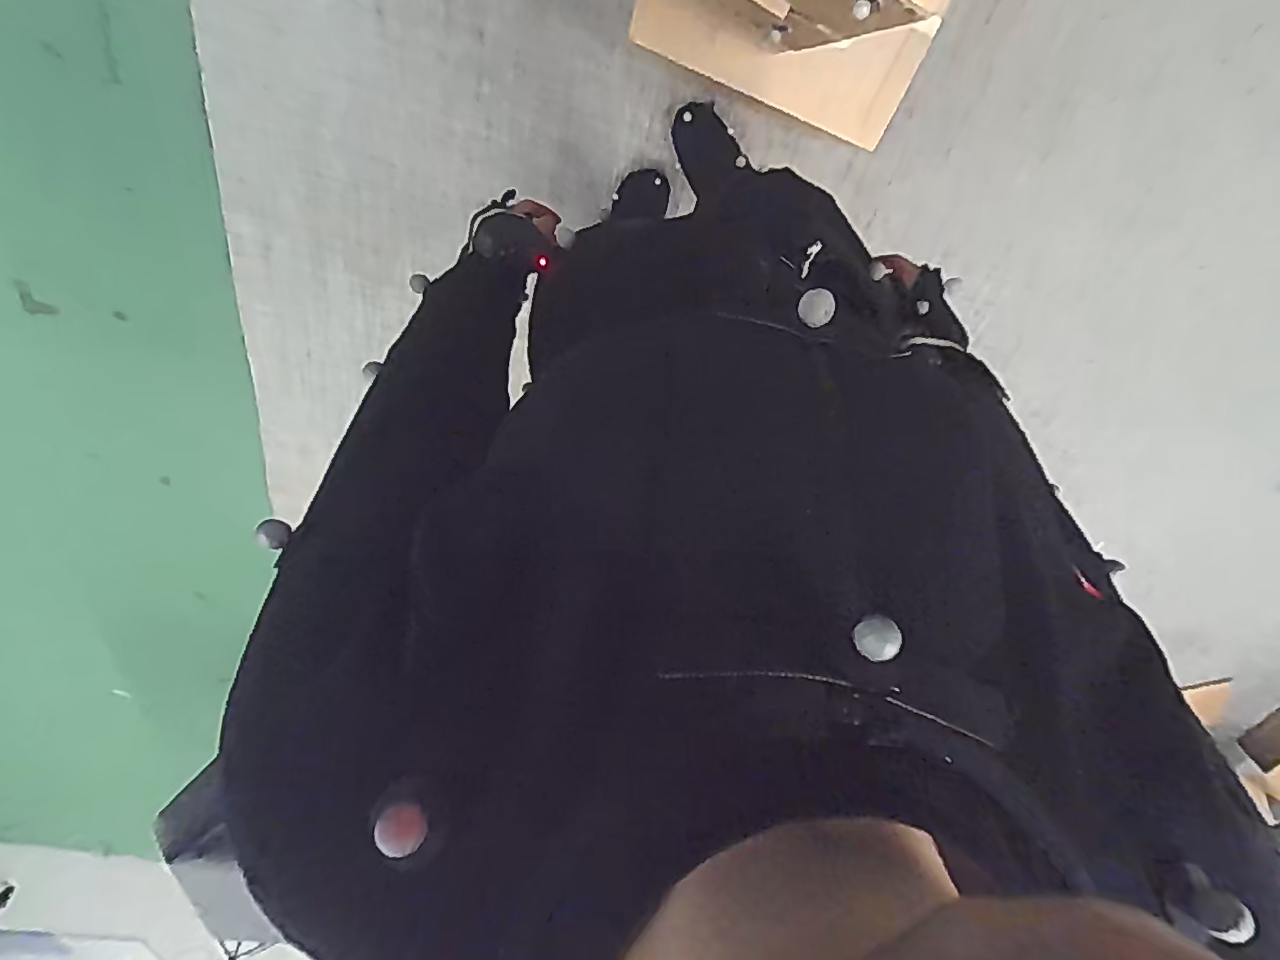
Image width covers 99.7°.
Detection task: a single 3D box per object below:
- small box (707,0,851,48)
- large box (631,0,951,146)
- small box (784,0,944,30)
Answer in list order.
[{"bbox_3d":[0.140,-0.531,0.491,0.168,0.176,0.179,17,123,-15],"label":"small box"},{"bbox_3d":[0.219,-0.762,0.828,0.408,0.320,0.320,15,125,-12],"label":"large box"},{"bbox_3d":[0.143,-0.437,0.358,0.179,0.176,0.168,18,123,-16],"label":"small box"}]
